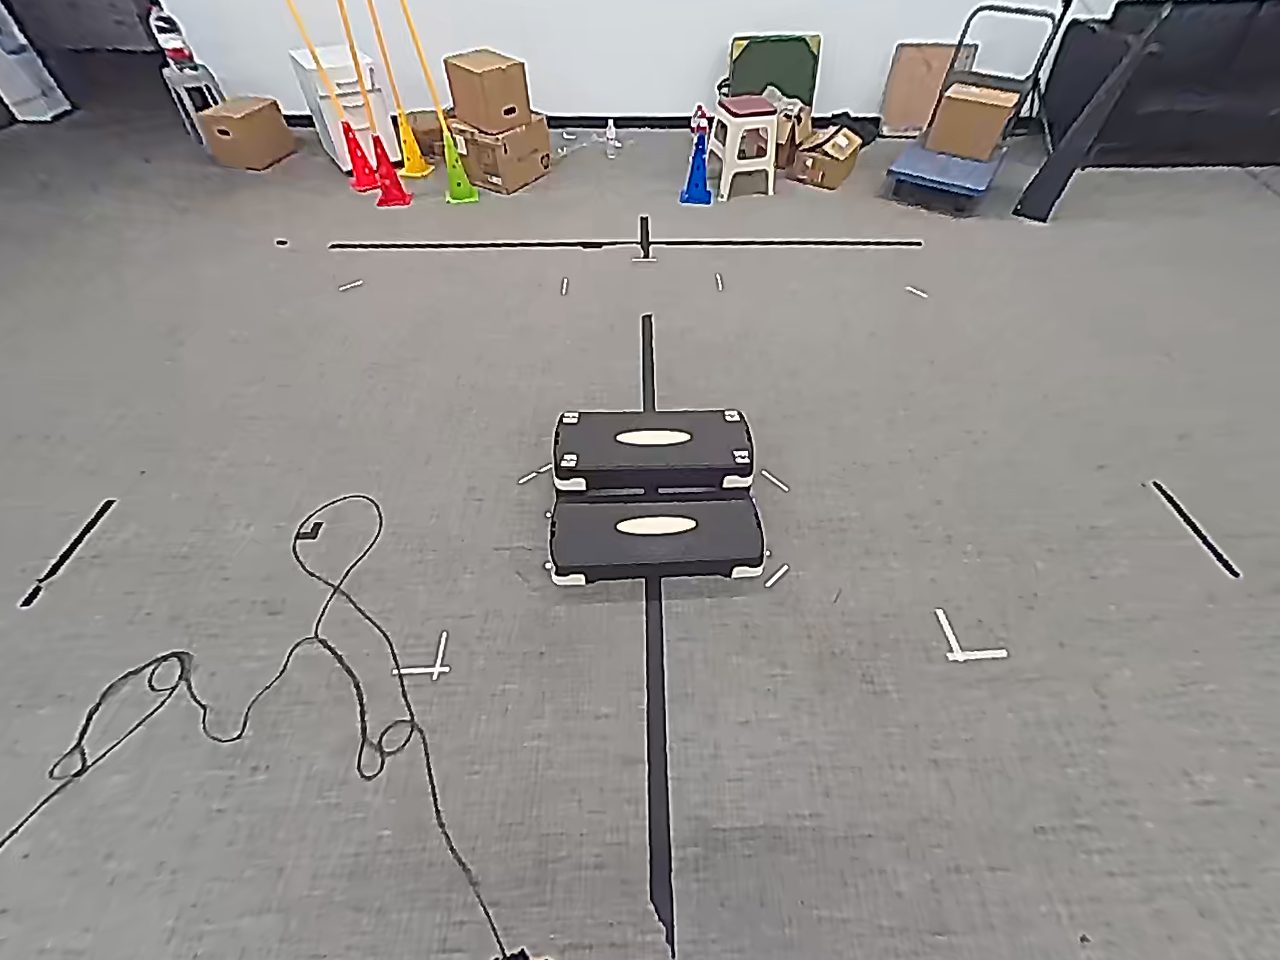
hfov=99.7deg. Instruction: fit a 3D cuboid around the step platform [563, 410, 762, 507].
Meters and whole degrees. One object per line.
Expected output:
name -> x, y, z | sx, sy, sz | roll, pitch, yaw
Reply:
step platform -> 0.074, -0.084, 1.889 | 0.684, 0.204, 0.286 | -1, 50, -3
